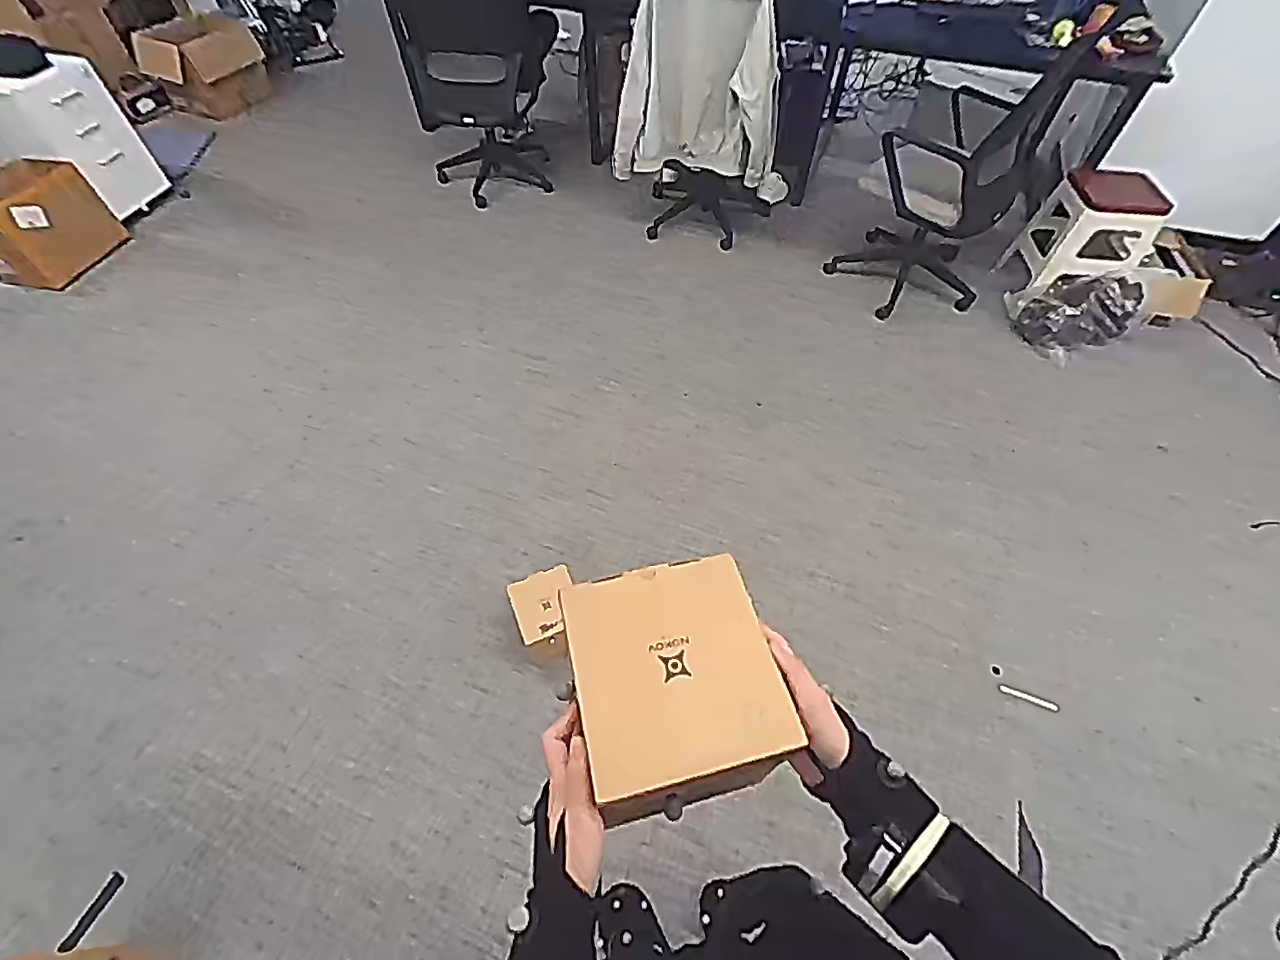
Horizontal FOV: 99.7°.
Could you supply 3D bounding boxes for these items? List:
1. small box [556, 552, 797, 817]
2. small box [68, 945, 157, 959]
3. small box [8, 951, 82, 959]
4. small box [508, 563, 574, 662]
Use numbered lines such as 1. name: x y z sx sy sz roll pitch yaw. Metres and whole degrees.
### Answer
1. small box: 0.022 0.197 0.508 0.168 0.176 0.179 -10 52 -10
2. small box: -1.016 0.999 1.002 0.179 0.176 0.168 14 55 11
3. small box: -1.014 0.898 0.871 0.179 0.176 0.168 15 55 11
4. small box: -0.242 0.359 1.459 0.168 0.176 0.179 -20 57 -14
